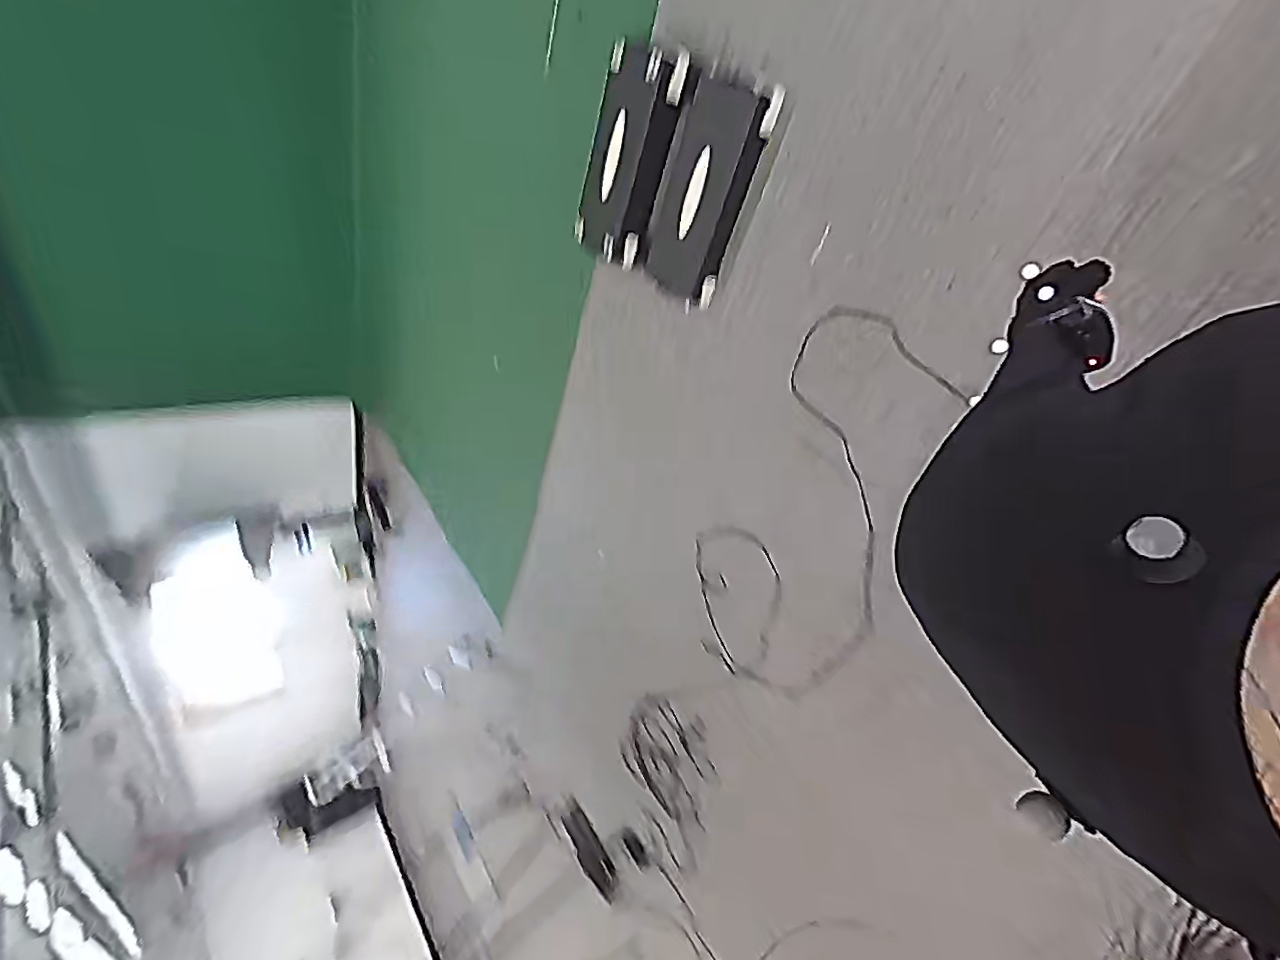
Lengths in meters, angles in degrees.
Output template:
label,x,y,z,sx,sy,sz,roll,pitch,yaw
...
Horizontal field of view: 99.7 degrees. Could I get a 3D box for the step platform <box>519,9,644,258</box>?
label,x,y,z,sx,sy,sz,roll,pitch,yaw
step platform,-0.215,-1.125,1.829,0.286,0.204,0.684,45,132,31
